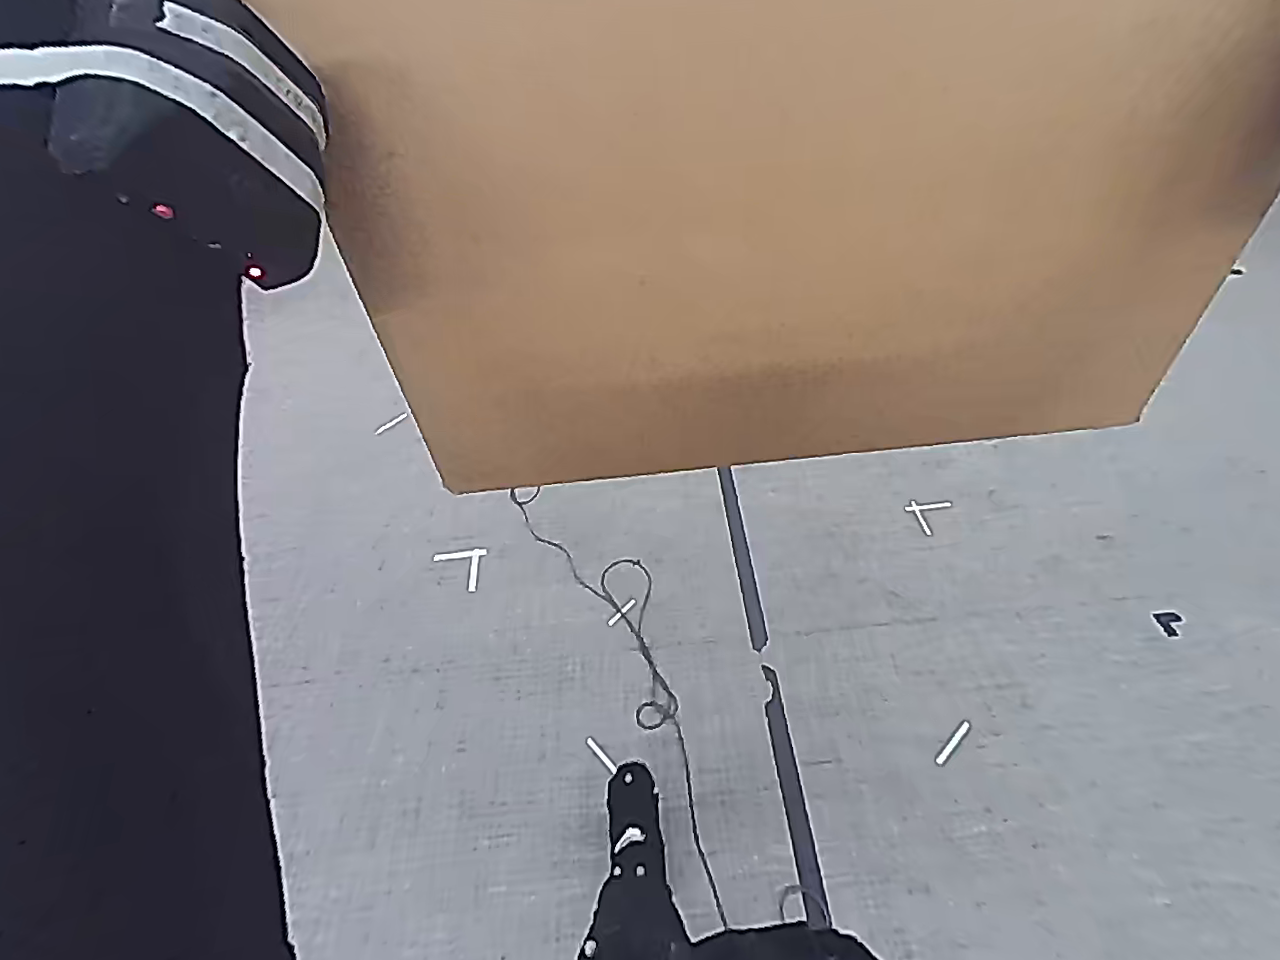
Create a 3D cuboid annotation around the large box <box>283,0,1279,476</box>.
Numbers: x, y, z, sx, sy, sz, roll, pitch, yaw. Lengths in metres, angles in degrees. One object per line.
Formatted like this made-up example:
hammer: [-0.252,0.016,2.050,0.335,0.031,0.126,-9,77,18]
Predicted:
large box: [0.062,-0.229,0.347,0.408,0.320,0.320,-6,41,0]
